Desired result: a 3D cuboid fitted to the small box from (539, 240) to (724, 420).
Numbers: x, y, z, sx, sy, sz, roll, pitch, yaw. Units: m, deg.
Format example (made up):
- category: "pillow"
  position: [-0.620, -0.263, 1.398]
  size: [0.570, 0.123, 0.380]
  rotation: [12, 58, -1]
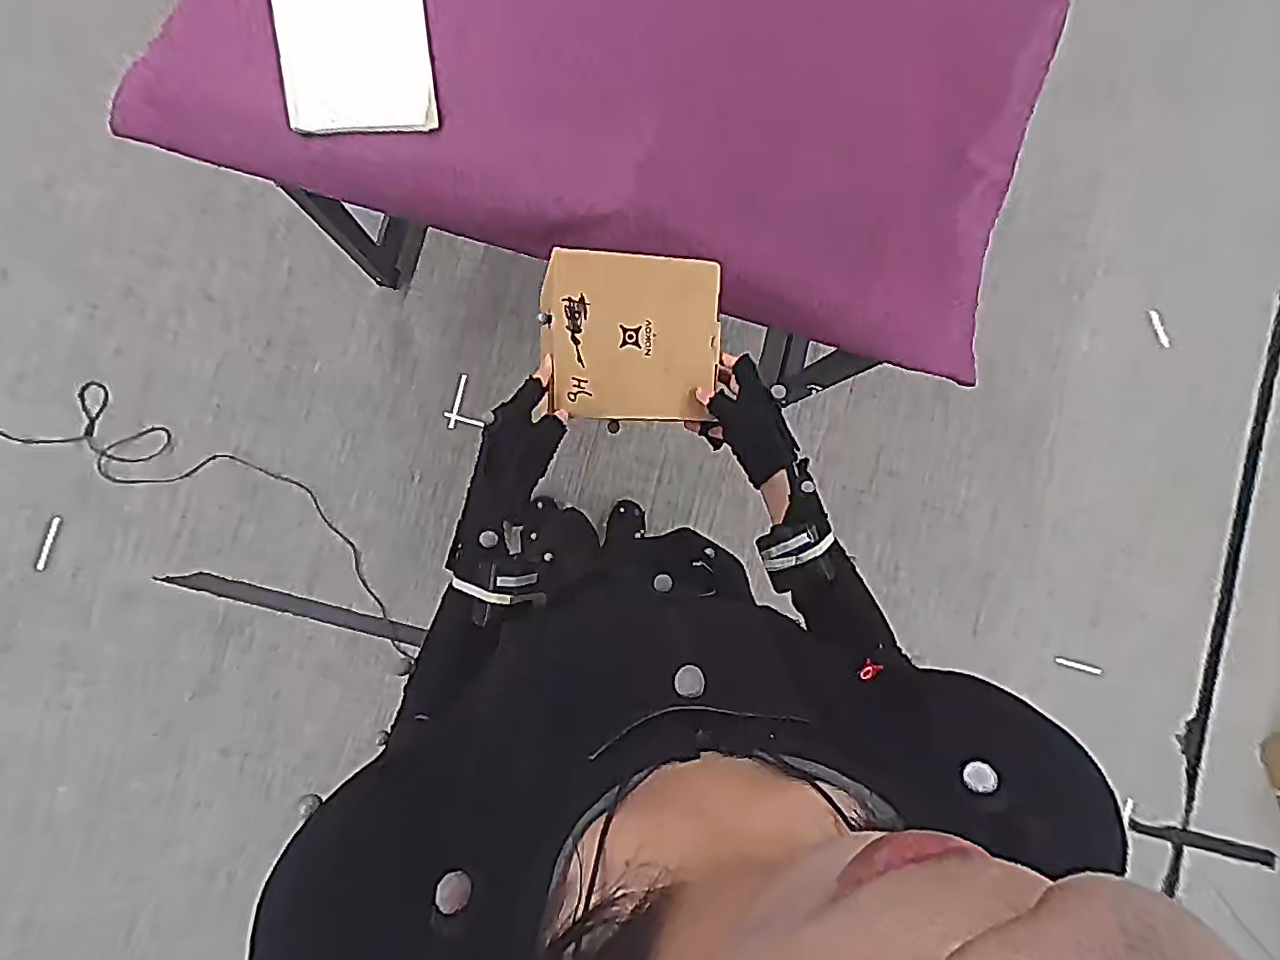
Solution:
- category: "small box"
  position: [-0.020, -0.155, 0.619]
  size: [0.179, 0.176, 0.168]
  rotation: [0, 95, -15]
